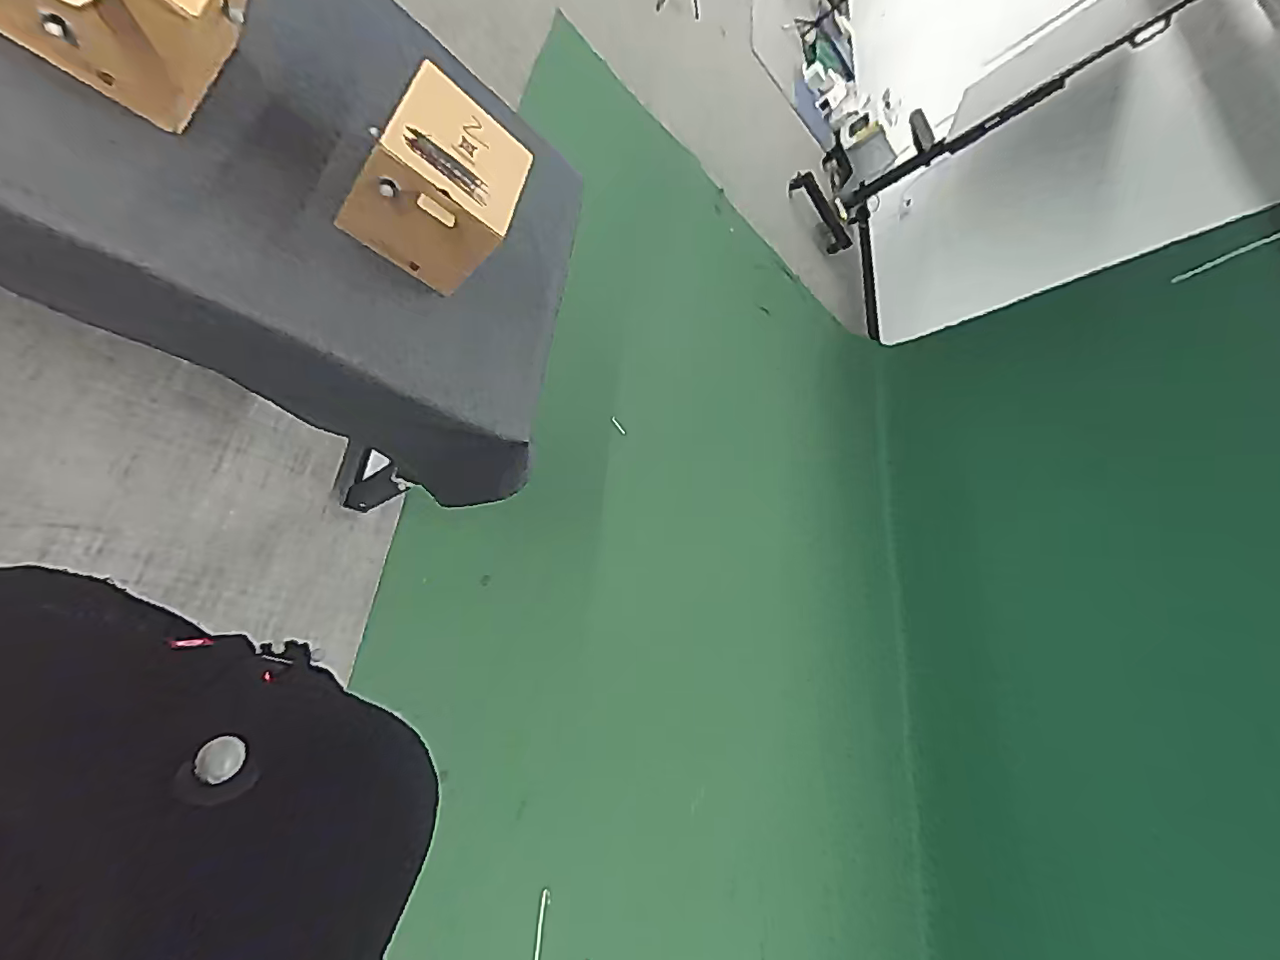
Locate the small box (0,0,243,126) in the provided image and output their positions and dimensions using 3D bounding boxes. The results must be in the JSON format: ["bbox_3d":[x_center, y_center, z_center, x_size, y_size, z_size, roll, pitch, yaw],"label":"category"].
[{"bbox_3d":[-0.516,-0.514,0.536,0.168,0.176,0.179,26,61,-39],"label":"small box"}]
